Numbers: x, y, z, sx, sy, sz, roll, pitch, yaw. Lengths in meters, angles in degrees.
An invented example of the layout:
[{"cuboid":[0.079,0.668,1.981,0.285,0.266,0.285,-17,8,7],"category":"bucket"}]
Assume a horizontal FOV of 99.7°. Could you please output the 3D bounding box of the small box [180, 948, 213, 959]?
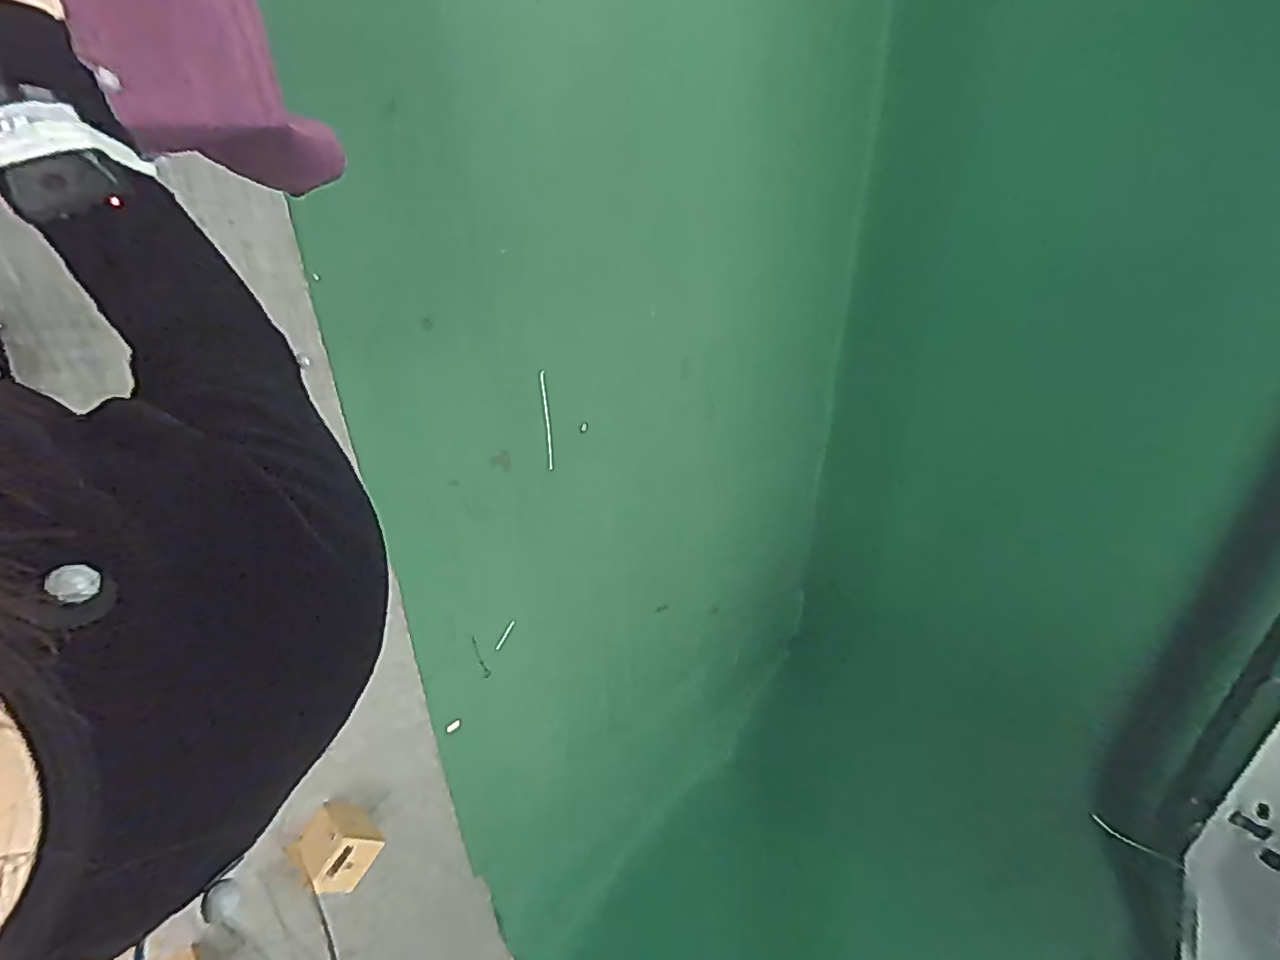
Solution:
[{"cuboid":[-1.238,1.440,1.469,0.179,0.176,0.168,-35,130,-37],"category":"small box"}]
